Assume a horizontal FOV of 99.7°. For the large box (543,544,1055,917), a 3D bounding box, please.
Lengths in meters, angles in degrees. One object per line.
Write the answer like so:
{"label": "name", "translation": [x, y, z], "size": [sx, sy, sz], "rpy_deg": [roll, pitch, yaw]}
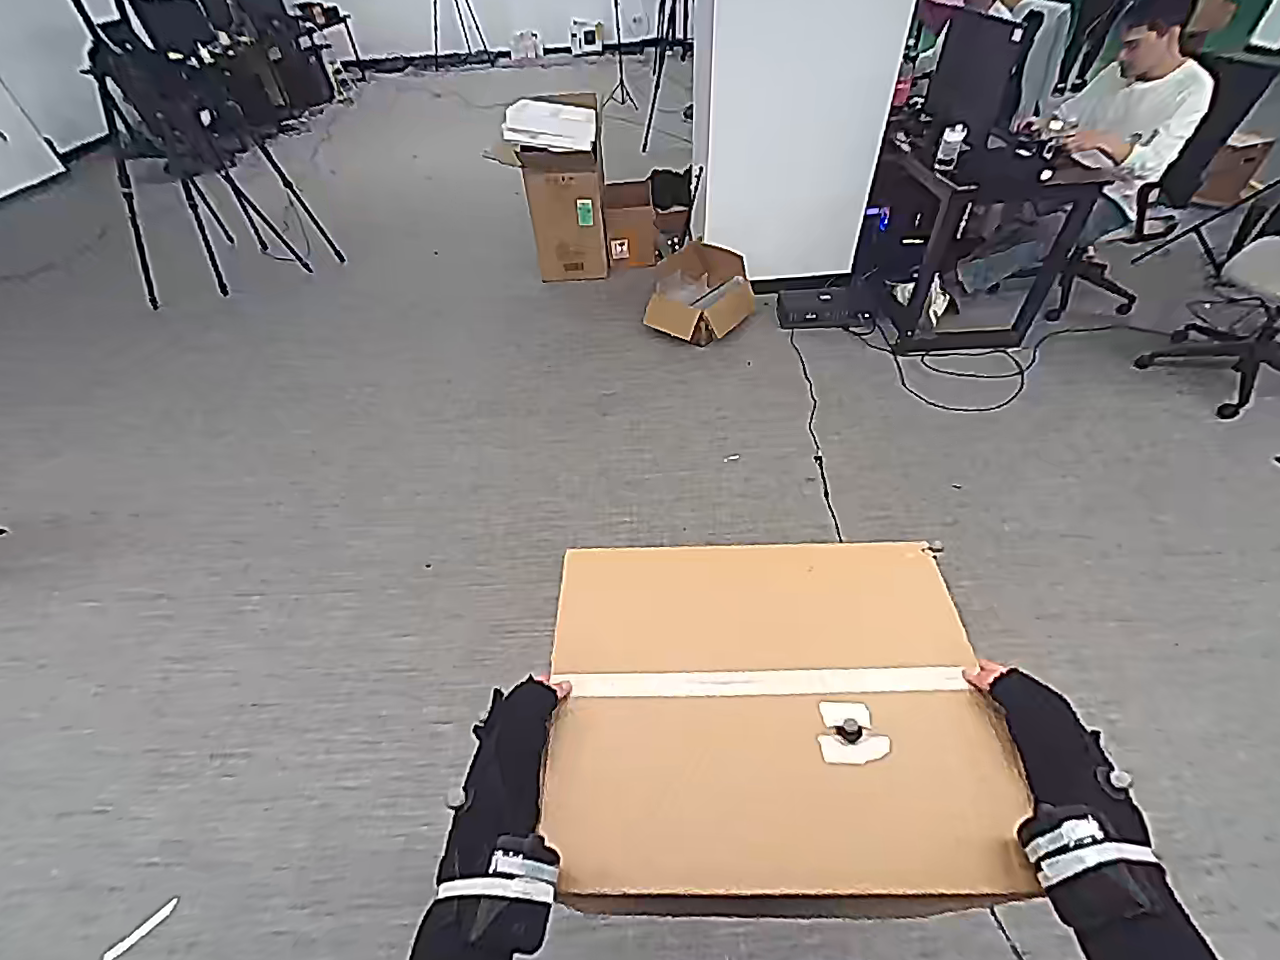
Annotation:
{"label": "large box", "translation": [0.124, 0.292, 0.623], "size": [0.408, 0.320, 0.320], "rpy_deg": [-1, 49, 2]}
